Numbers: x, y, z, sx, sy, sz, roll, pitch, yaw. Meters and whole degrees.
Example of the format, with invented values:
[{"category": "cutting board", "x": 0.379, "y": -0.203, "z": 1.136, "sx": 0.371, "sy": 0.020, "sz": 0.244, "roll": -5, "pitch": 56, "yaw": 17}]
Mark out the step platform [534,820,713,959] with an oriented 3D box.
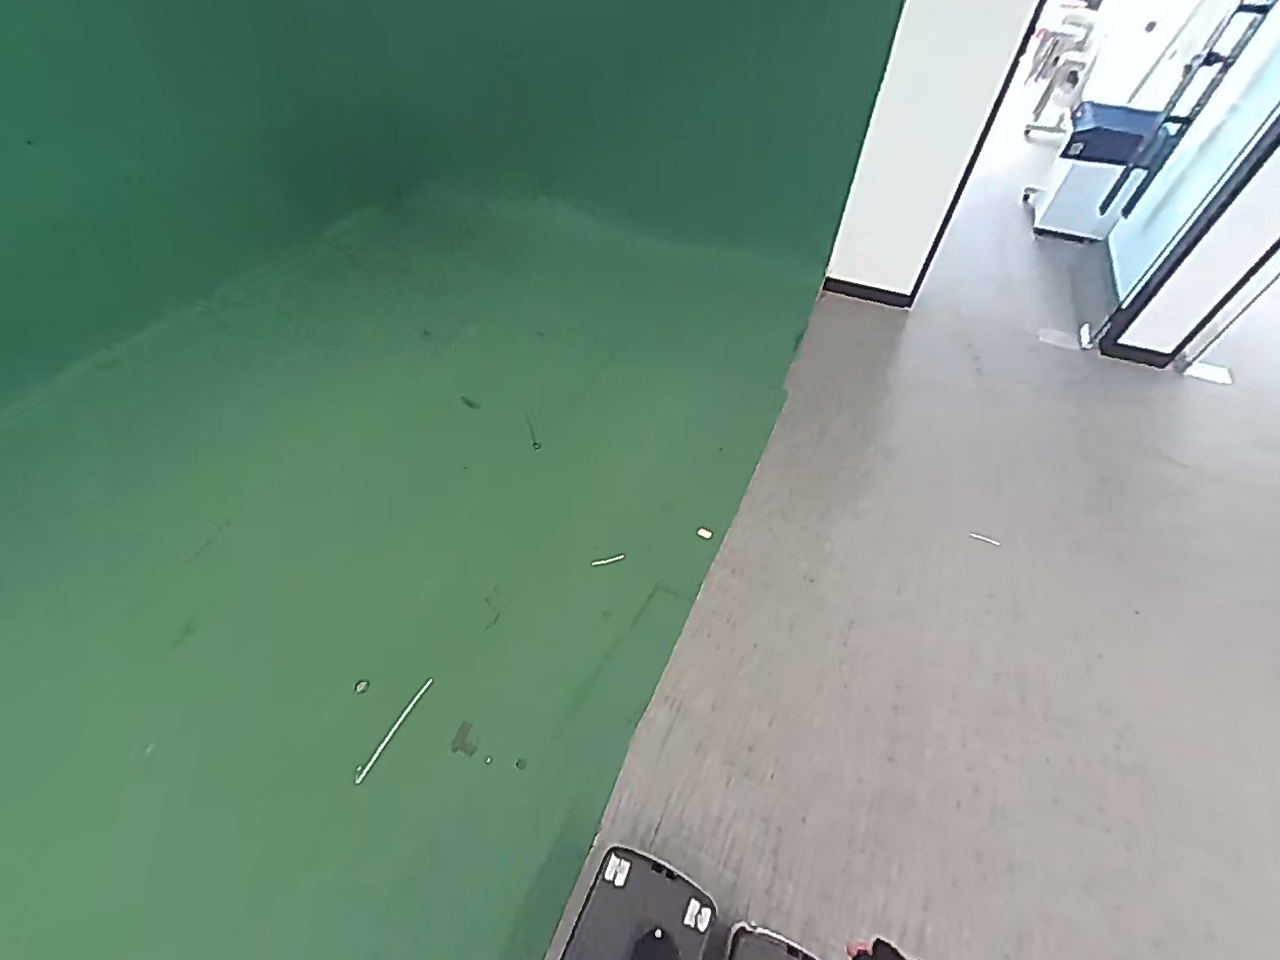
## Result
[{"category": "step platform", "x": -0.110, "y": 1.014, "z": 0.951, "sx": 0.286, "sy": 0.204, "sz": 0.684, "roll": 20, "pitch": 55, "yaw": 14}]
